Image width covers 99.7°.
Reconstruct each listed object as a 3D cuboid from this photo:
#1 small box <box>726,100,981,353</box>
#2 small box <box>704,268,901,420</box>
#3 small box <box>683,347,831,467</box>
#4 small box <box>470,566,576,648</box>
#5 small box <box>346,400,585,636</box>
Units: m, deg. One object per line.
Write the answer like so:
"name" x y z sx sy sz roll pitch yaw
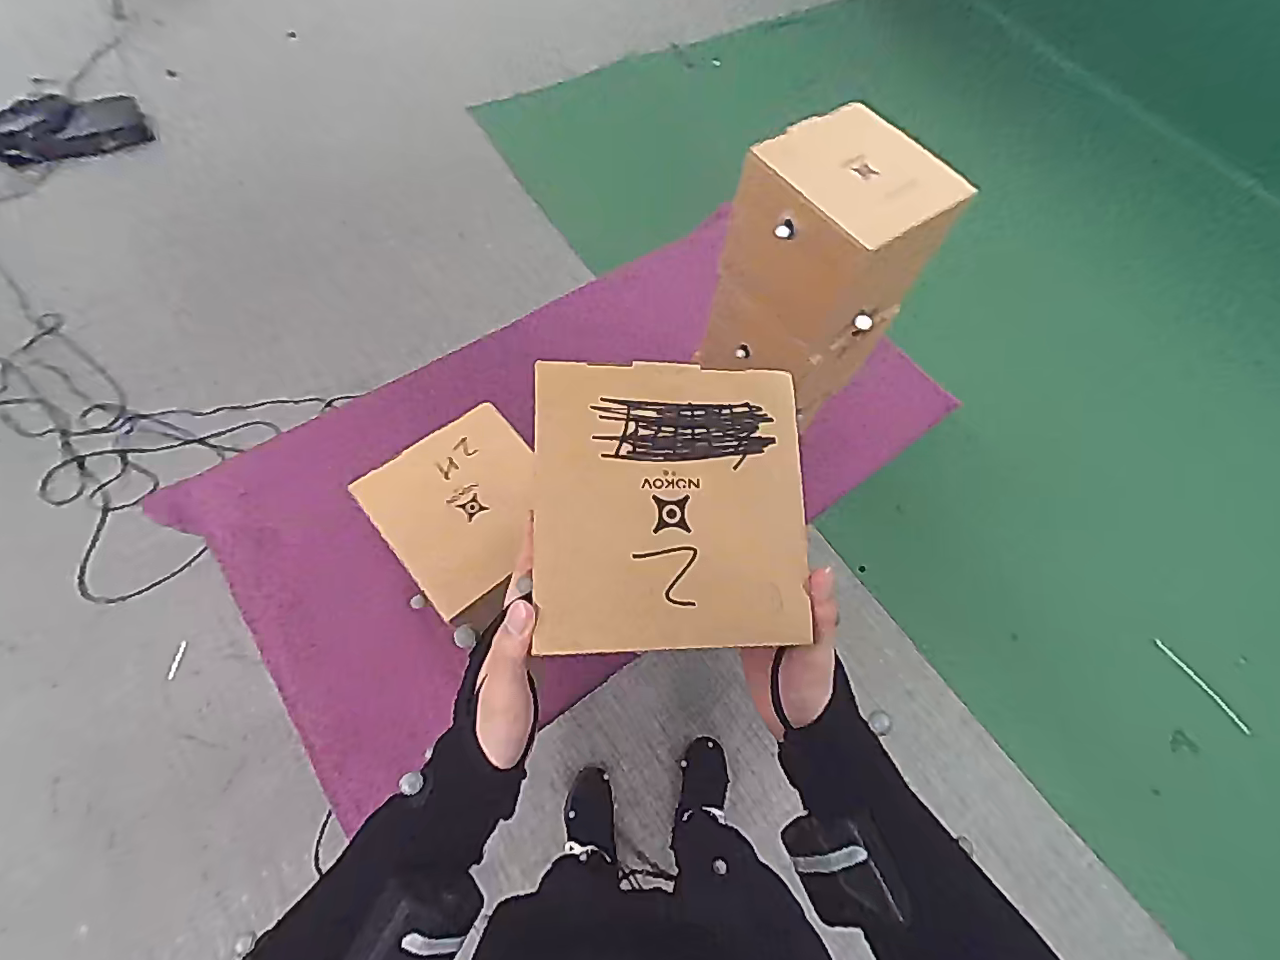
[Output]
"small box" 0.222 -0.281 0.615 0.168 0.176 0.179 -31 71 -18
"small box" 0.214 -0.208 0.761 0.168 0.176 0.179 -32 70 -19
"small box" 0.194 -0.143 0.911 0.168 0.176 0.179 -34 72 -19
"small box" -0.204 0.109 0.750 0.168 0.176 0.179 -38 74 -20
"small box" -0.175 0.053 0.597 0.168 0.176 0.179 -37 74 -21
